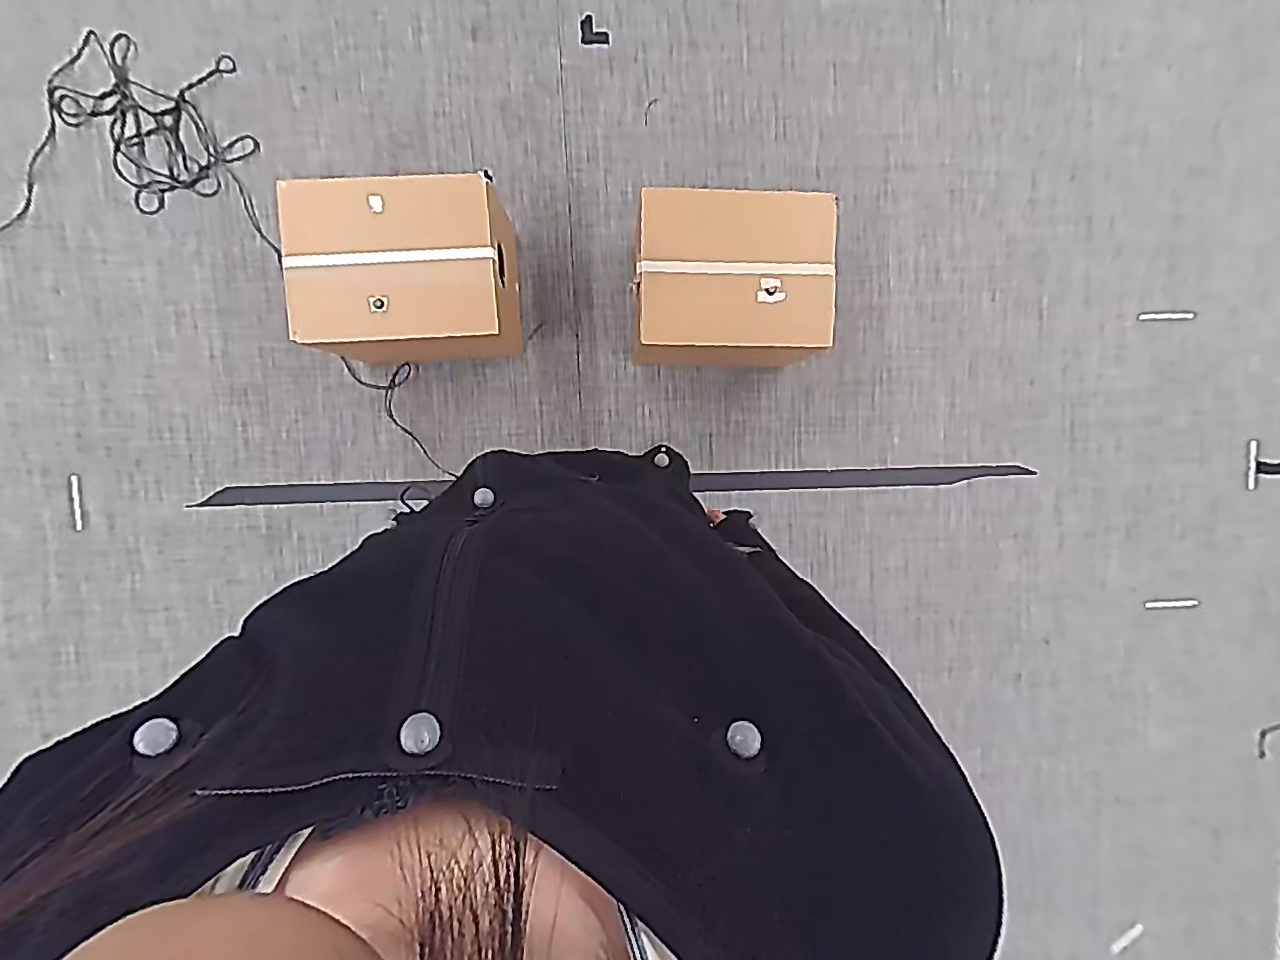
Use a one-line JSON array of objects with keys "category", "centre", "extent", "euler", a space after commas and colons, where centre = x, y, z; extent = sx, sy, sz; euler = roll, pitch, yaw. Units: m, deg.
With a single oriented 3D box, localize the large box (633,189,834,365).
[{"category": "large box", "centre": [0.193, -0.446, 1.262], "extent": [0.408, 0.320, 0.320], "euler": [0, 95, -4]}]
